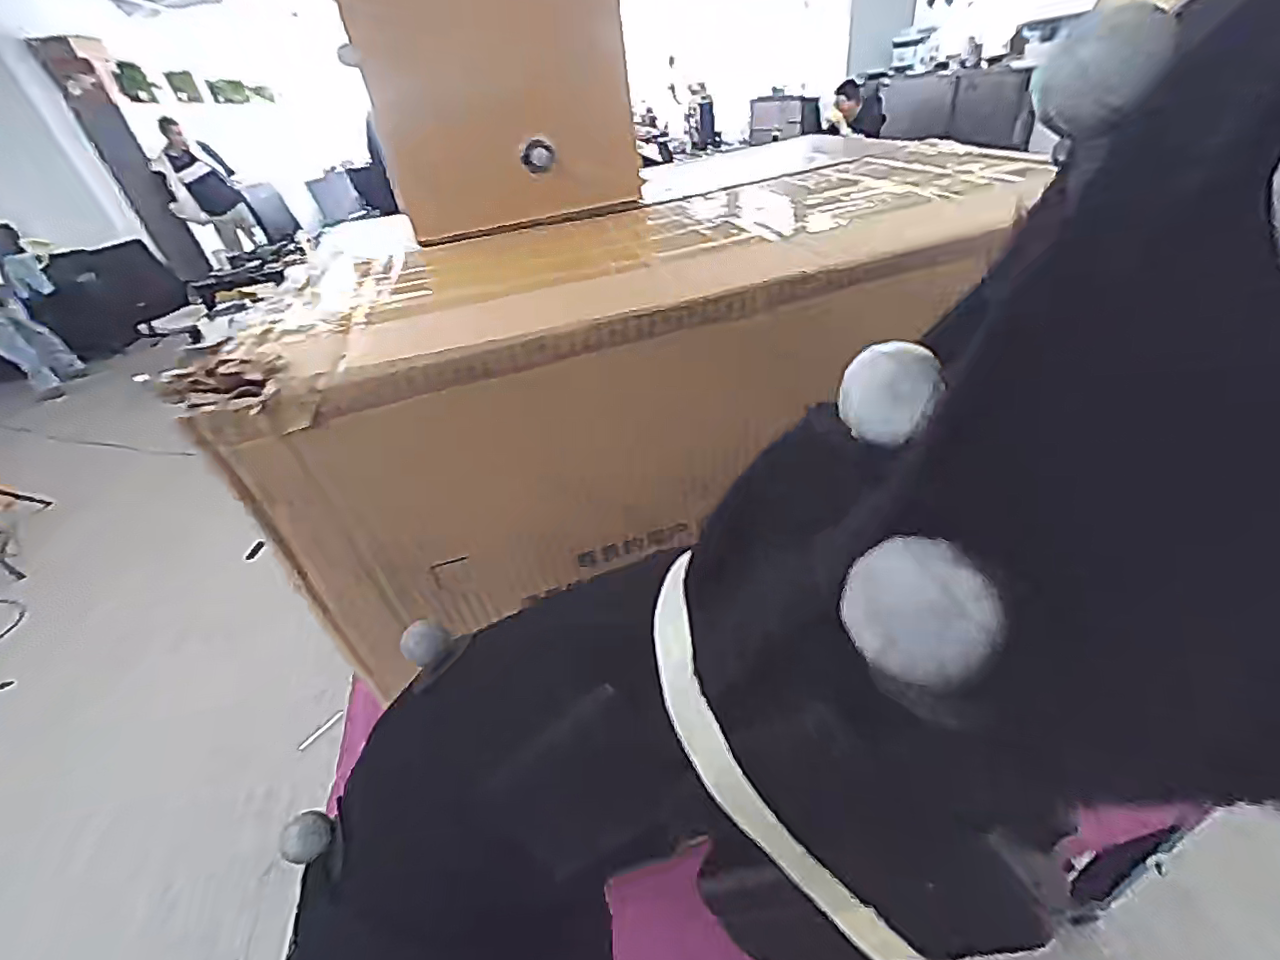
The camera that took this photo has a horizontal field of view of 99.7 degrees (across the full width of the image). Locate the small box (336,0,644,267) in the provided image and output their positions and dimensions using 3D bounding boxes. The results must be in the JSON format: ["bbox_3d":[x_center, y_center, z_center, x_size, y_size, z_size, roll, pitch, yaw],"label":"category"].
[{"bbox_3d":[-0.112,-0.290,0.427,0.179,0.176,0.168,-16,37,-10],"label":"small box"}]

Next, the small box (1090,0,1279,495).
[{"bbox_3d":[0.217,-0.094,0.083,0.179,0.176,0.168,6,64,8],"label":"small box"}]
